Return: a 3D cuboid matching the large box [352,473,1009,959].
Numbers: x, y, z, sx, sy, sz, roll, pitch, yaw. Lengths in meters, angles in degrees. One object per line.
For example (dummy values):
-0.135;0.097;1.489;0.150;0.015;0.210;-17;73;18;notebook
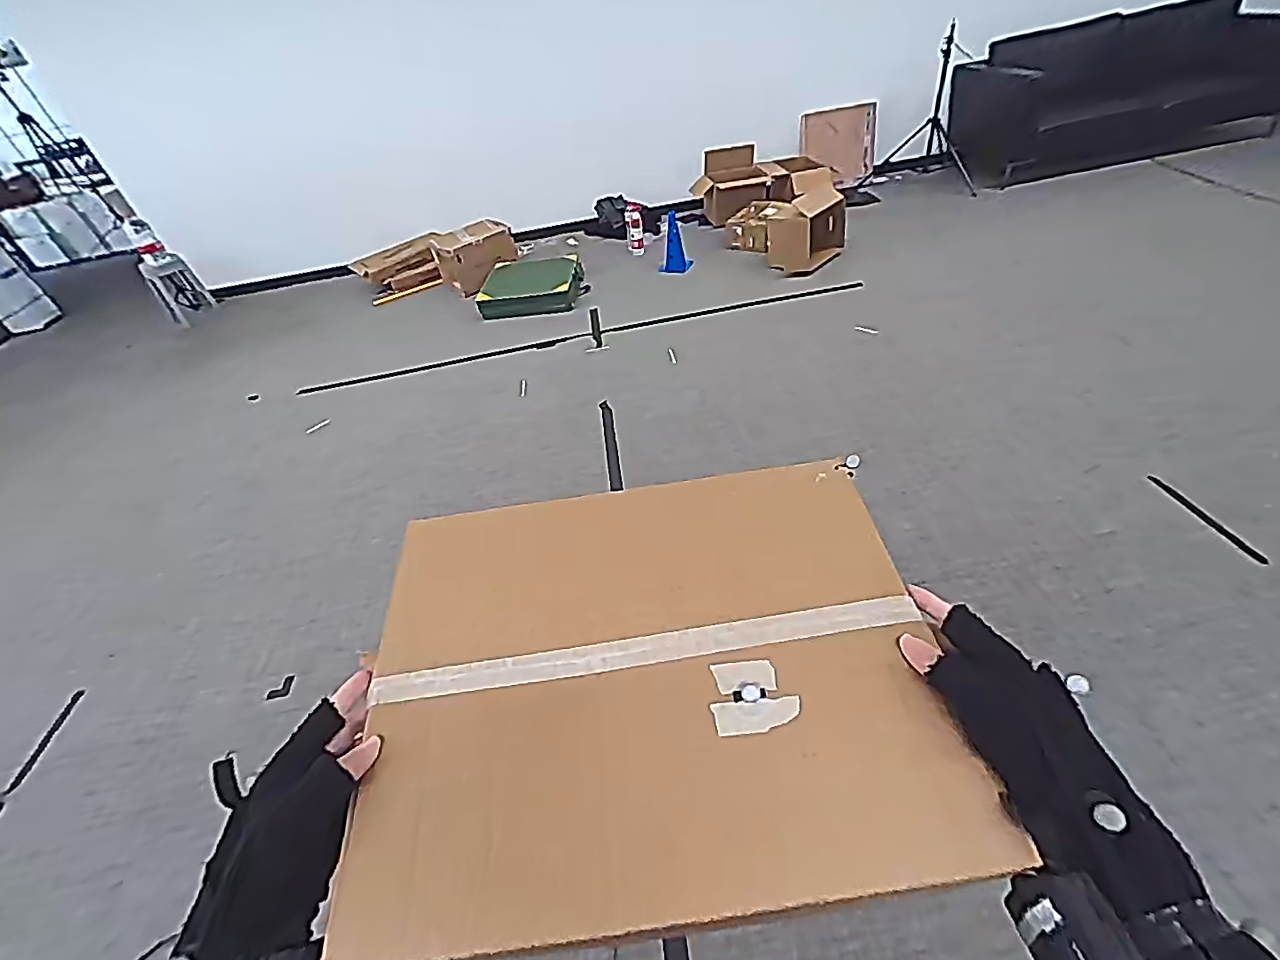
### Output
0.019;0.232;0.525;0.408;0.320;0.320;-8;50;-1;large box
